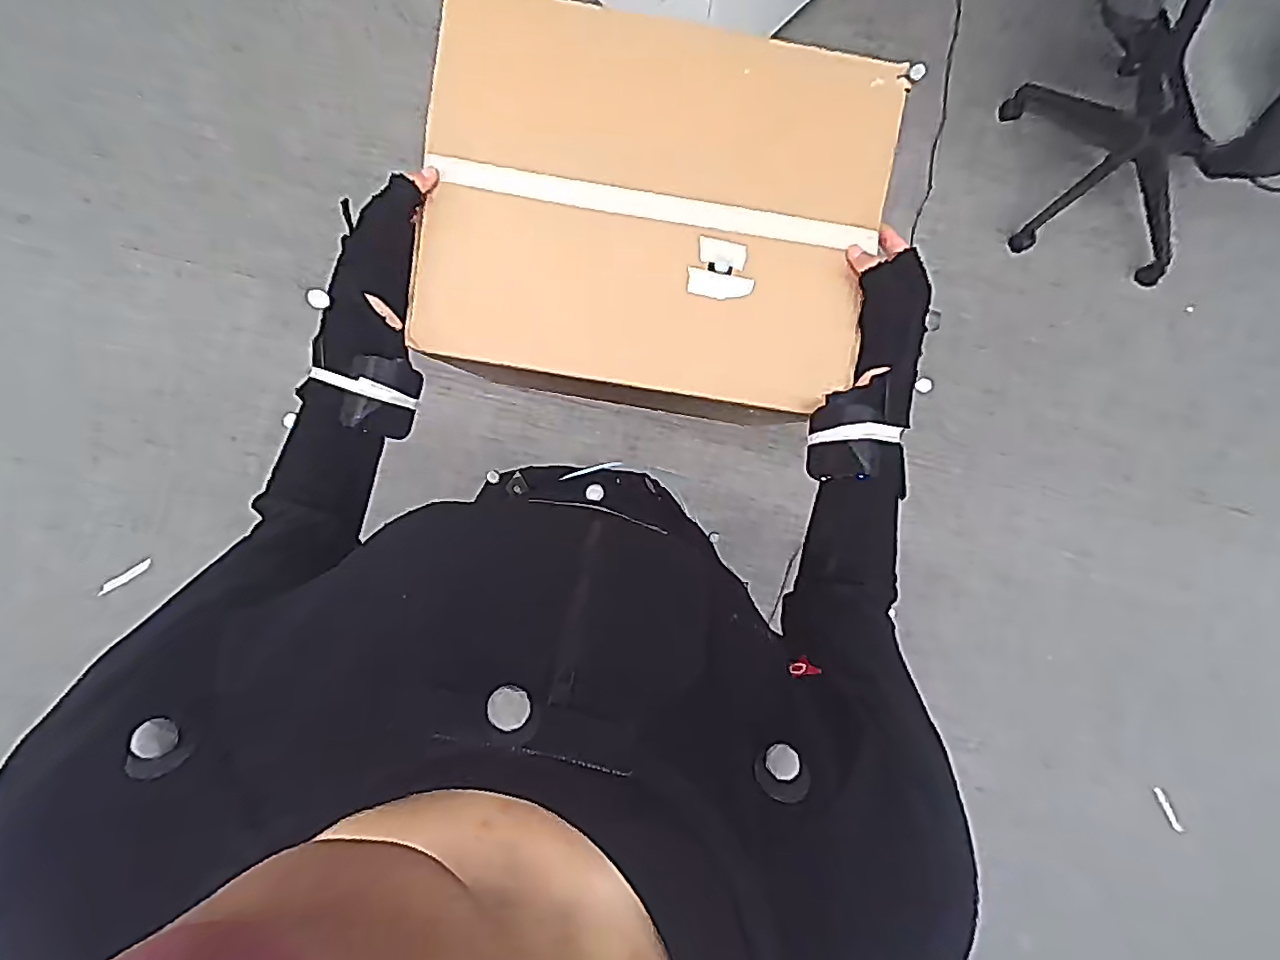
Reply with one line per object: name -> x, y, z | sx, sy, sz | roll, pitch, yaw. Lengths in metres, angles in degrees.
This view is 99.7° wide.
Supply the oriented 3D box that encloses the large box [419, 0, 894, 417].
large box -> 0.007, -0.258, 0.639 | 0.408, 0.320, 0.320 | 9, 96, -3
